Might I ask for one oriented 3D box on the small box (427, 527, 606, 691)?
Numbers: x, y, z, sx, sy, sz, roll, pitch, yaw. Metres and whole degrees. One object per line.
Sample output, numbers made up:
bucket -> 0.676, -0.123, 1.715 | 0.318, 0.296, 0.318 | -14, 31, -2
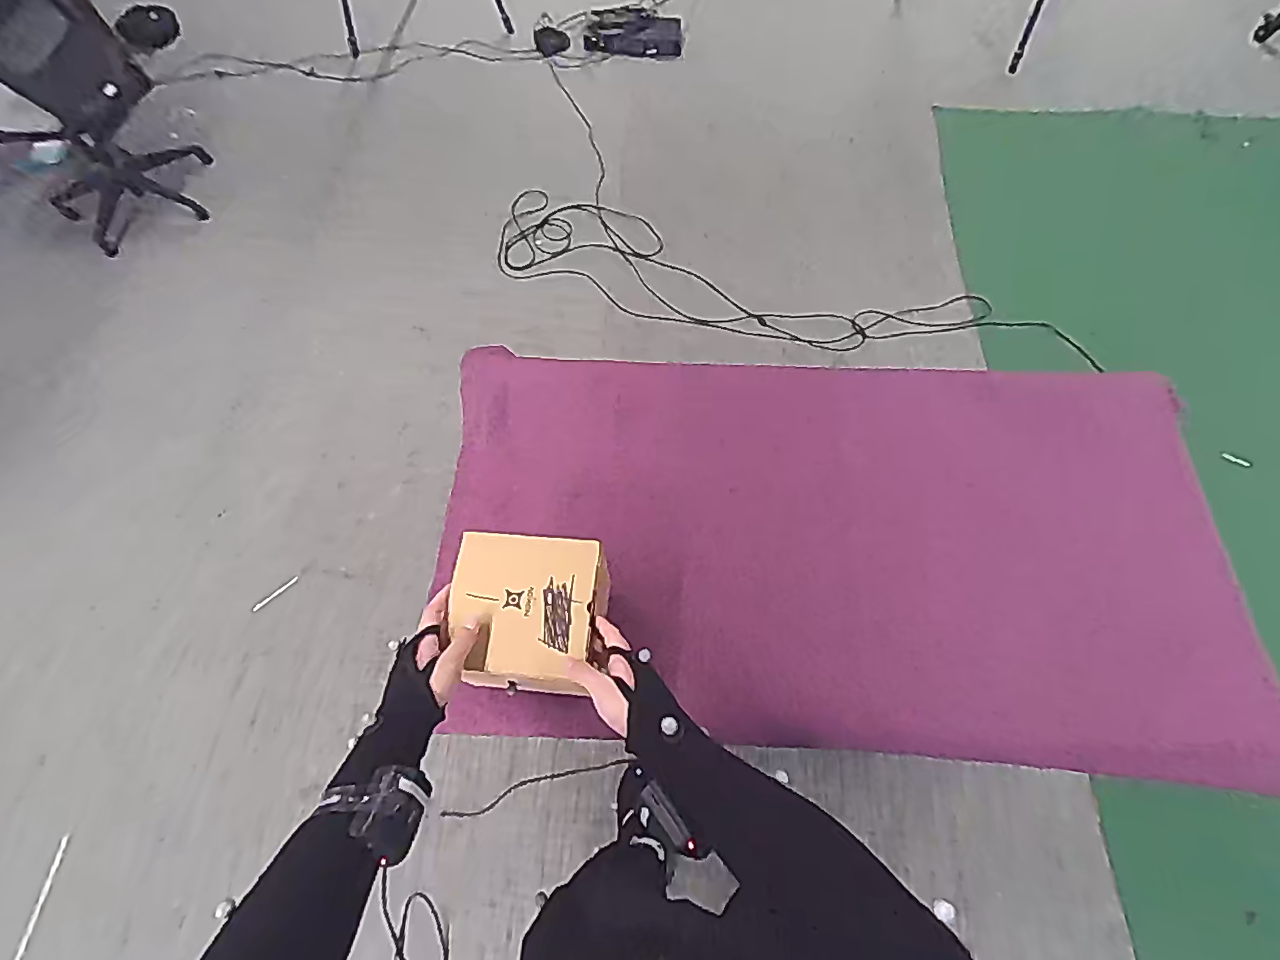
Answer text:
small box -> -0.142, 0.173, 0.700 | 0.179, 0.176, 0.168 | 4, 63, 3
